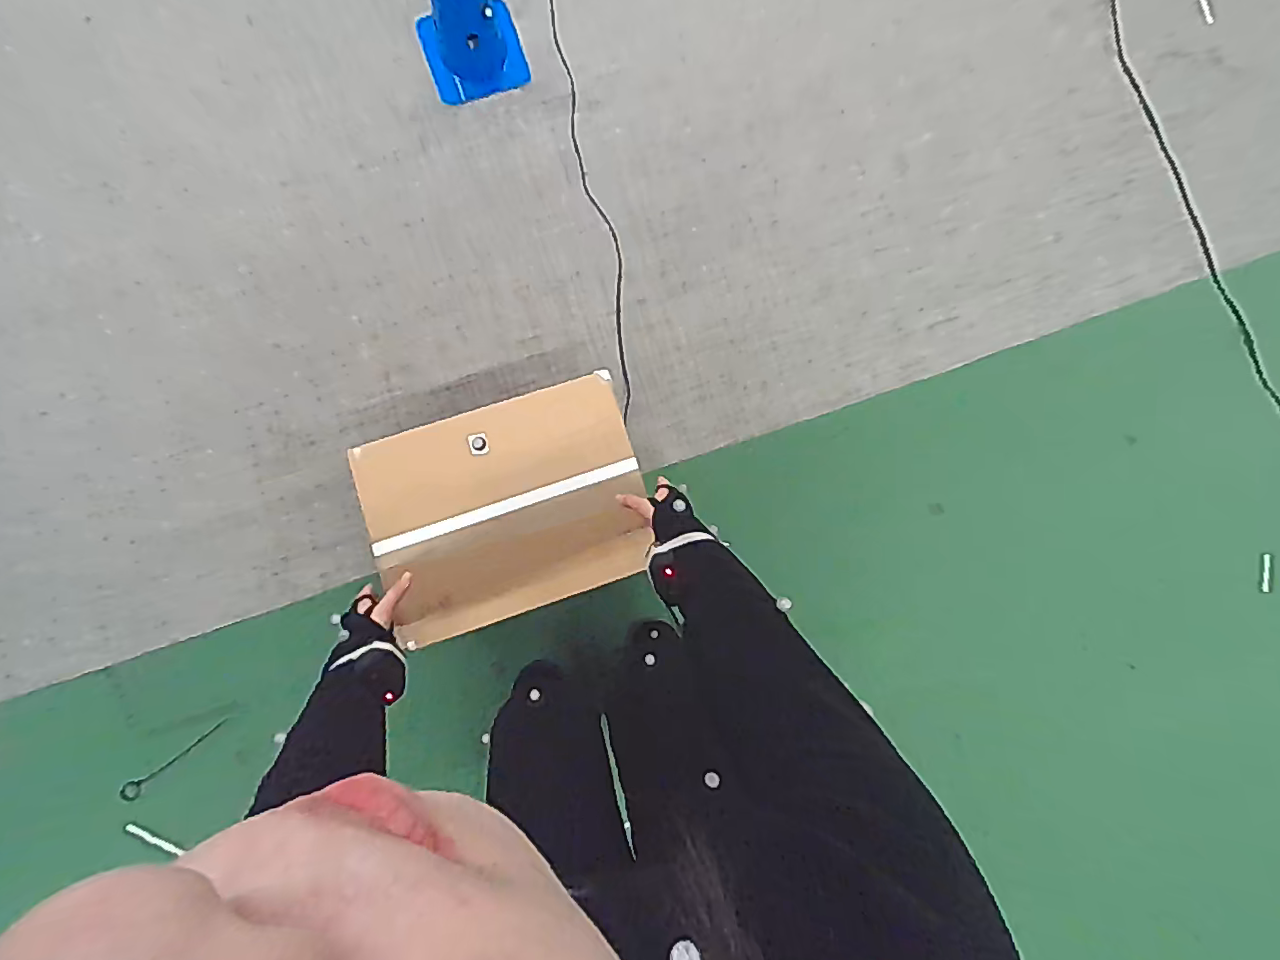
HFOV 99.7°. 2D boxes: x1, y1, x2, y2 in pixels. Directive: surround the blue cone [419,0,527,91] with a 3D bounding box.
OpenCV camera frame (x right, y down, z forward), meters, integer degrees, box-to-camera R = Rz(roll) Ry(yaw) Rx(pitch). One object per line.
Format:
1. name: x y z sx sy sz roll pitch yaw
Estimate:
1. blue cone: -0.334 -0.918 0.957 0.193 0.380 0.192 -22 89 -4
